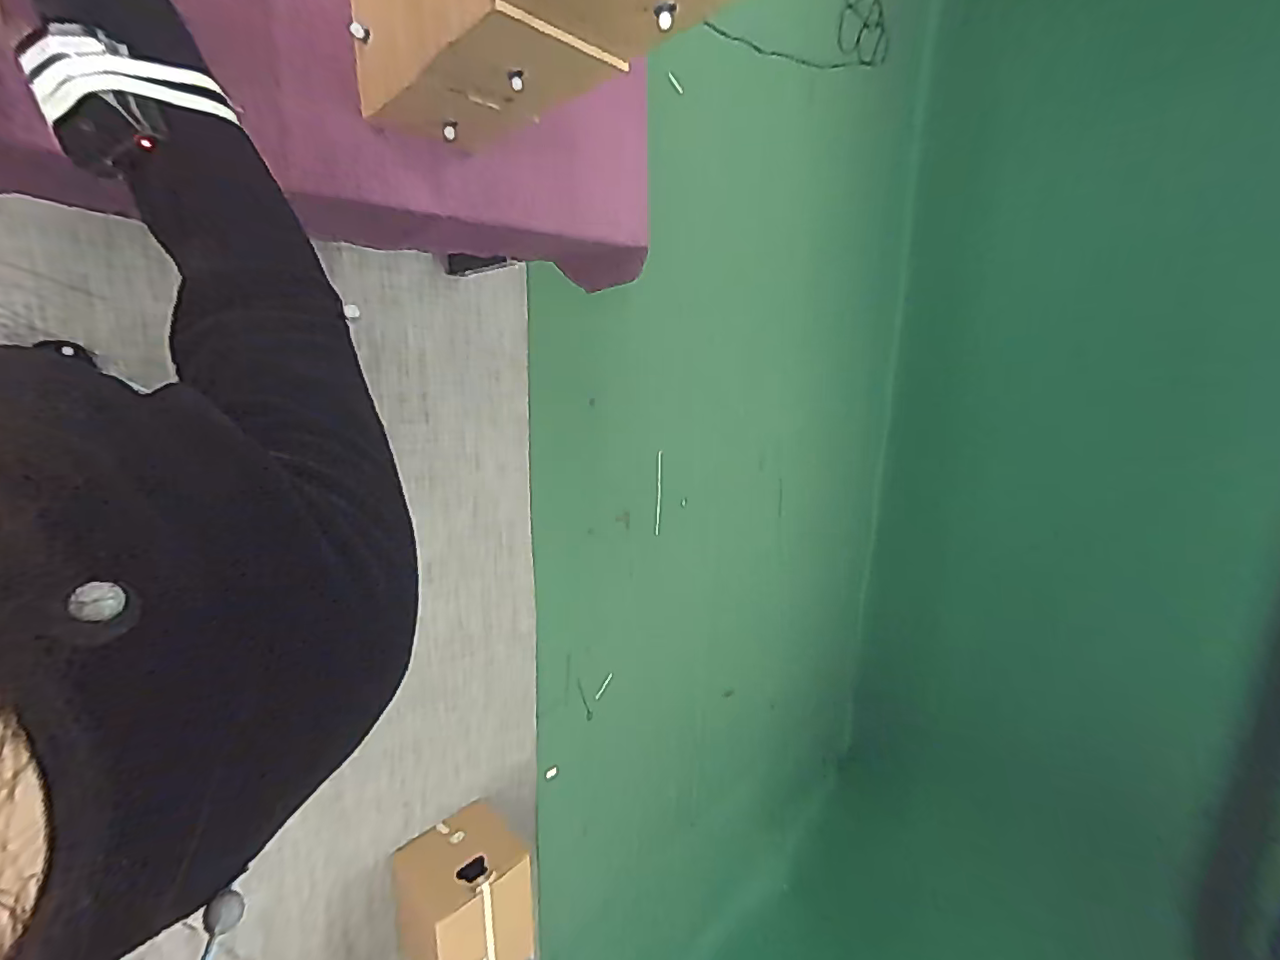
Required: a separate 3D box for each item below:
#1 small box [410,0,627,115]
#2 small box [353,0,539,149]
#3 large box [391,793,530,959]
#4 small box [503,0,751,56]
[{"bbox_3d":[-0.129,-0.521,0.569,0.168,0.176,0.179,-14,108,-44],"label":"small box"},{"bbox_3d":[-0.245,-0.548,0.685,0.168,0.176,0.179,-13,109,-44],"label":"small box"},{"bbox_3d":[-0.578,1.344,1.757,0.320,0.320,0.408,-13,110,-45],"label":"large box"},{"bbox_3d":[-0.016,-0.500,0.454,0.179,0.176,0.168,-13,107,-43],"label":"small box"}]
